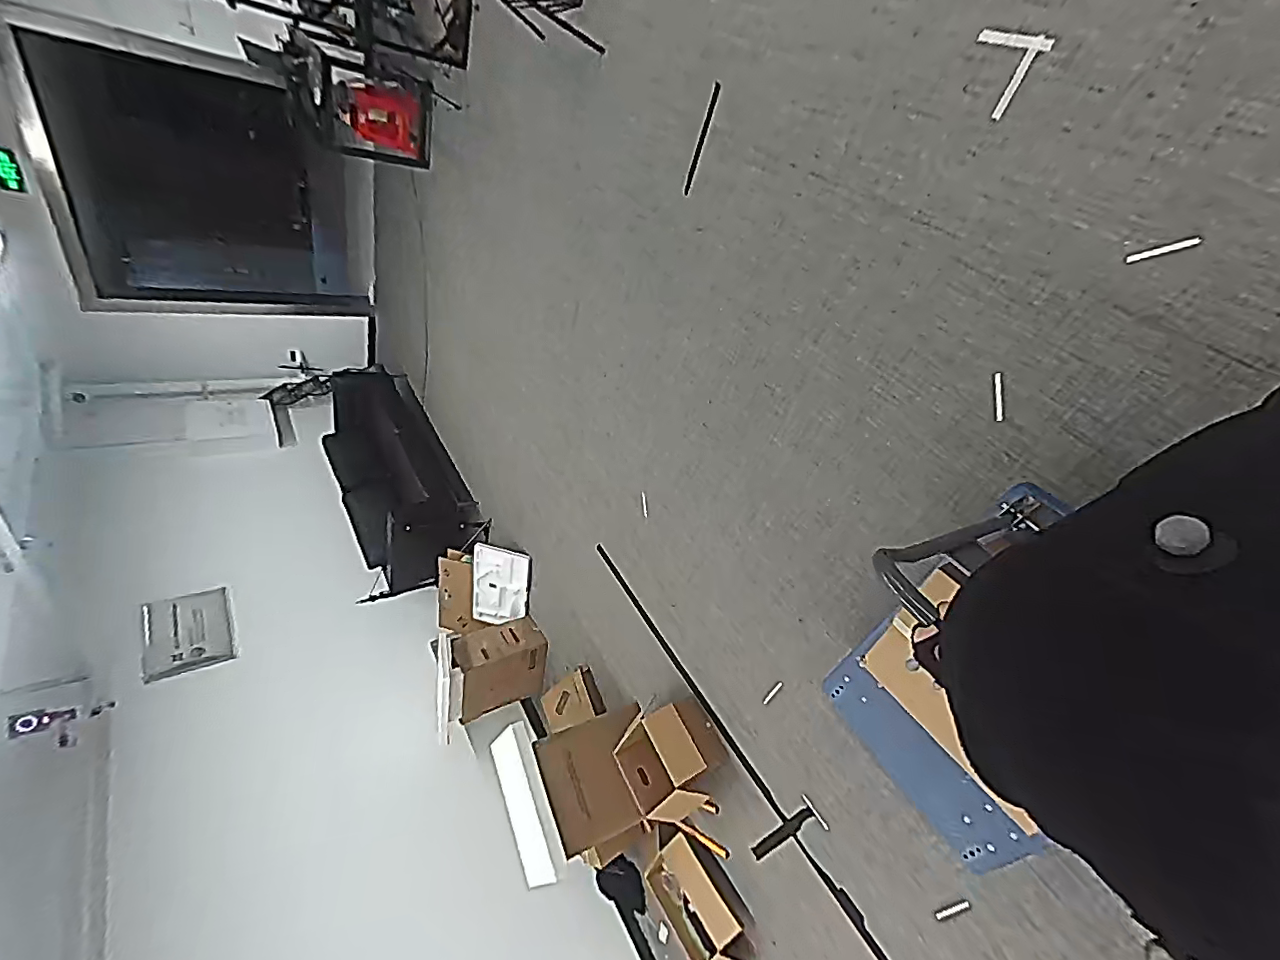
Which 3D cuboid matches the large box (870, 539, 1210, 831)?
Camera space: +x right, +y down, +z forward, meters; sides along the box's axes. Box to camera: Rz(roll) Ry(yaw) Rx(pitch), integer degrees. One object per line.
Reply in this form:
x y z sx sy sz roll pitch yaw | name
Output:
0.780 0.384 1.099 0.408 0.320 0.320 49 133 38 | large box
